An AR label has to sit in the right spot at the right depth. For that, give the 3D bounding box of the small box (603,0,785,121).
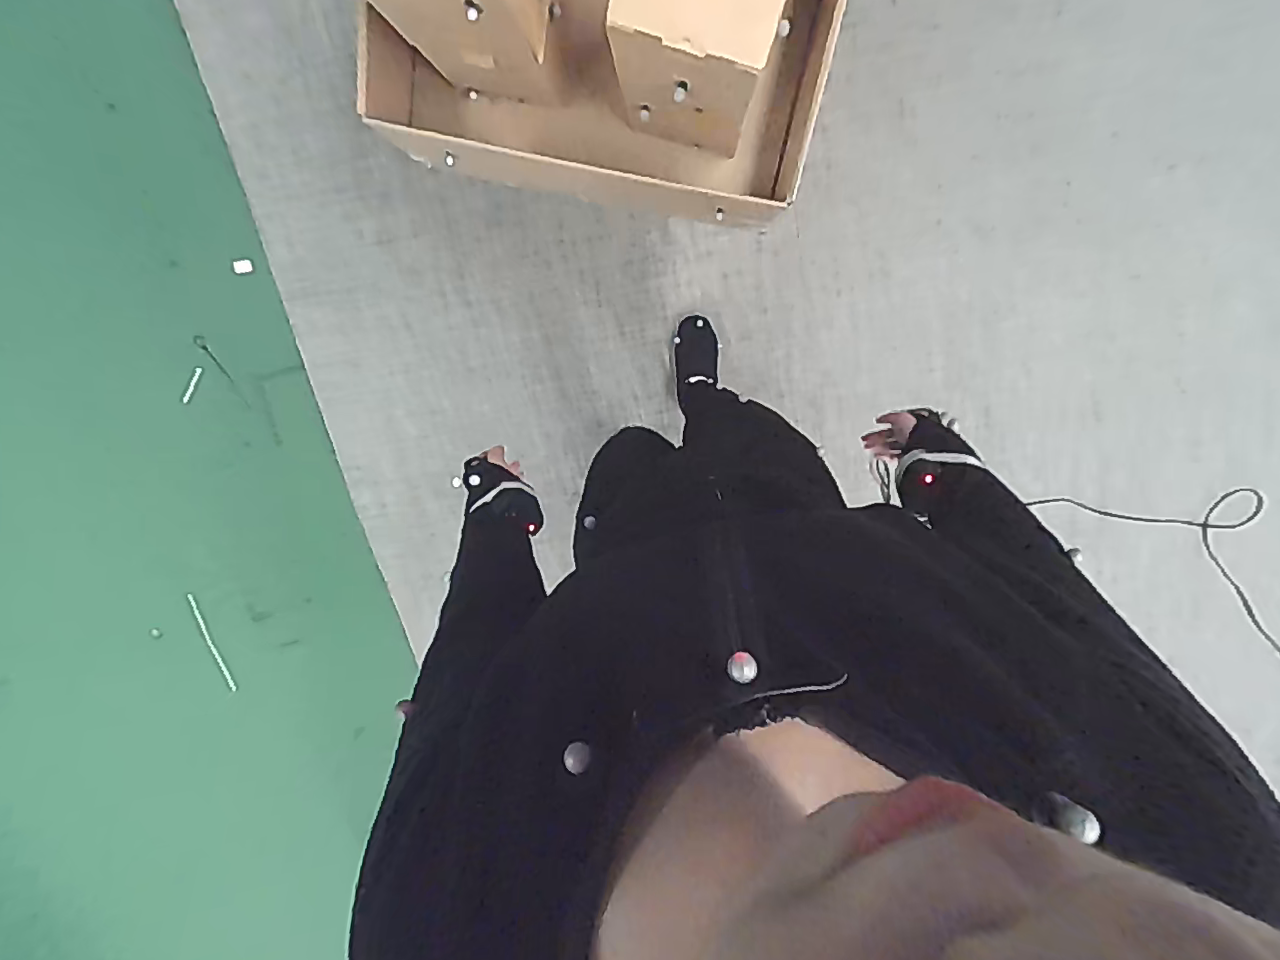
[{"bbox_3d":[0.071,-0.526,0.584,0.168,0.176,0.179,18,108,-2],"label":"small box"}]

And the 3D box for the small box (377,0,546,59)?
[{"bbox_3d":[-0.203,-0.594,0.582,0.179,0.176,0.168,10,108,-1],"label":"small box"}]
